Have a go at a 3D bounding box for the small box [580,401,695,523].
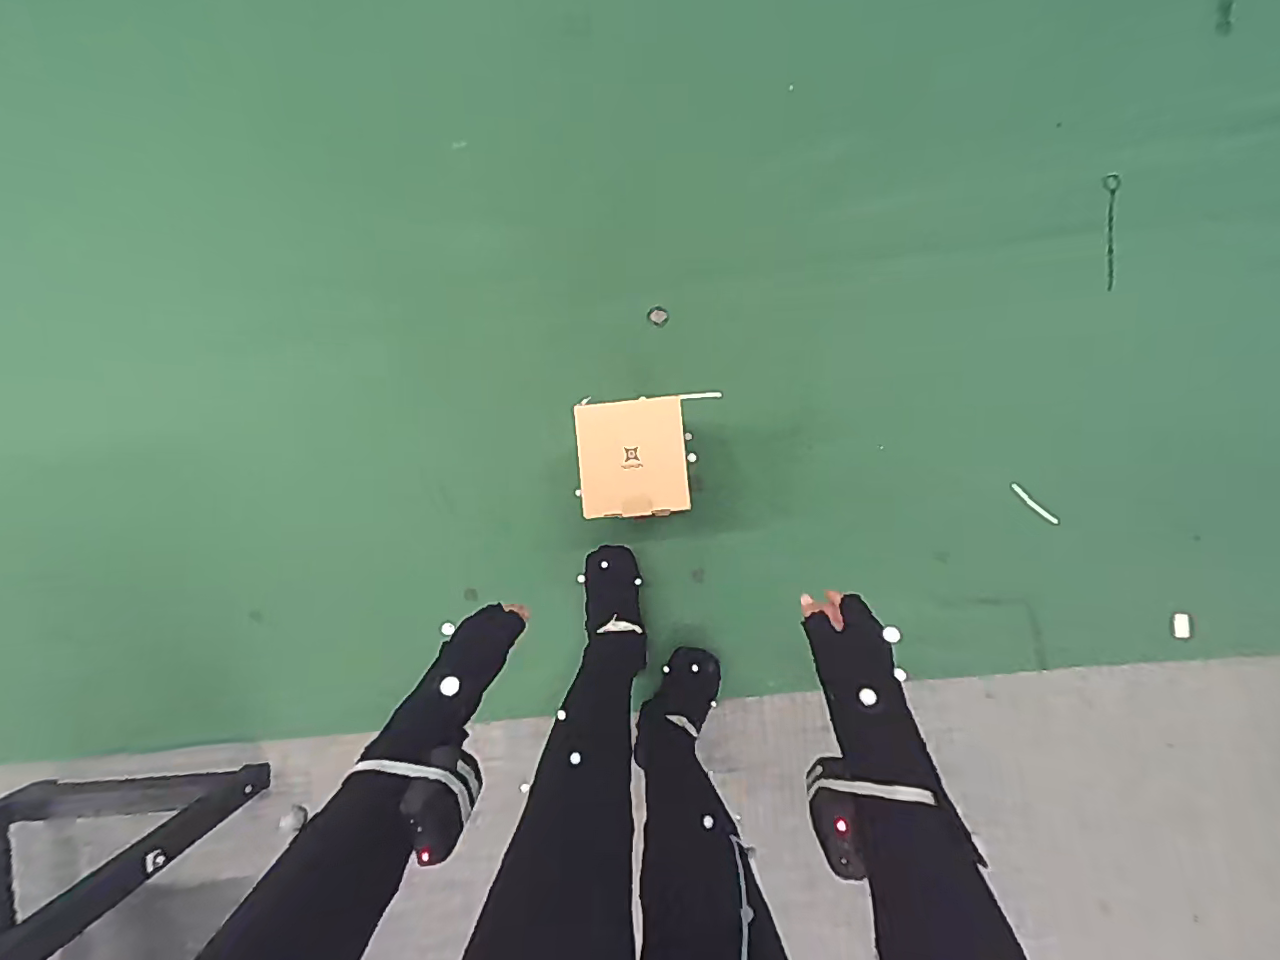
[{"bbox_3d":[-0.002,-0.027,0.903,0.168,0.176,0.179,-6,90,4],"label":"small box"}]
